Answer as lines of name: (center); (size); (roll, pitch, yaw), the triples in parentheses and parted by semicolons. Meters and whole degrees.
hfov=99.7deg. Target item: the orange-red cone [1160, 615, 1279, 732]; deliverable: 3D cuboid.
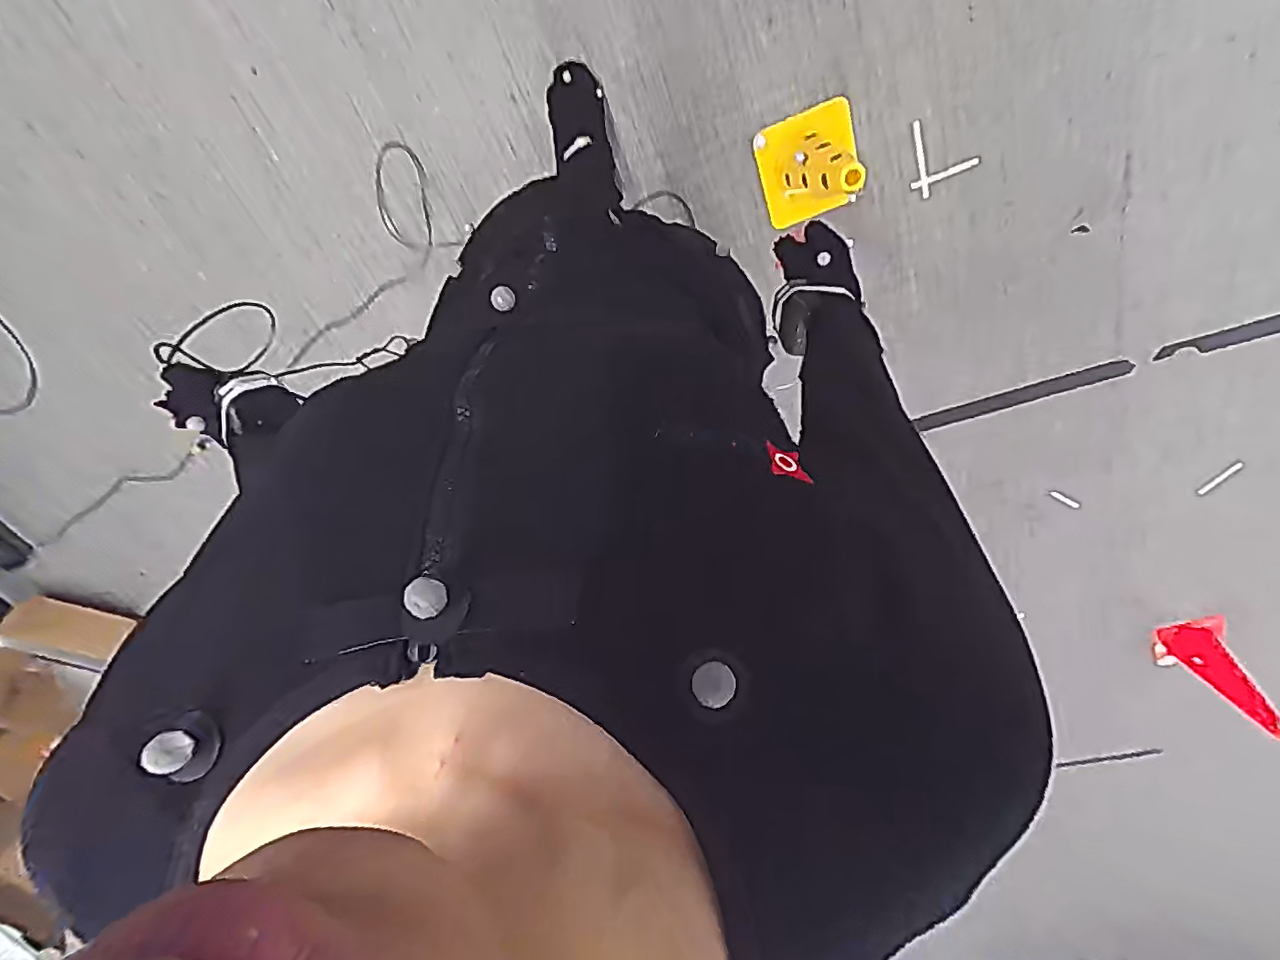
orange-red cone: (1.878, 0.632, 1.692); (0.199, 0.360, 0.198); (-22, 120, 15)
